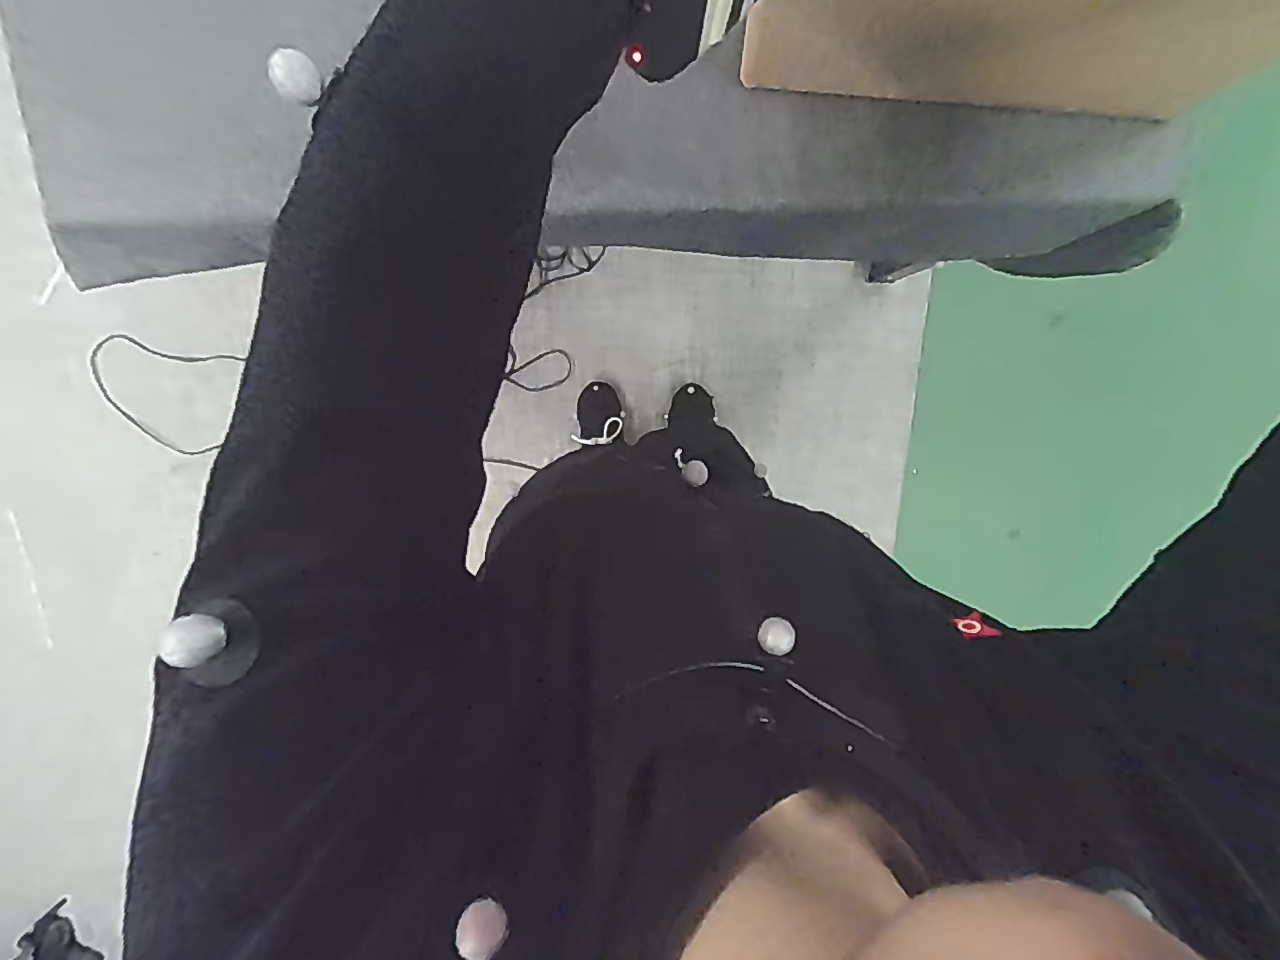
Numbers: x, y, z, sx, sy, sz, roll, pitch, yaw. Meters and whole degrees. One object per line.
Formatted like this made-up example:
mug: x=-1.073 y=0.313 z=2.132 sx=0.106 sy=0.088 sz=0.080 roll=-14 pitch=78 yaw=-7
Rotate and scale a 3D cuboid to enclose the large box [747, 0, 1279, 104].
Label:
large box: x=0.298 y=-0.480 z=0.333 sx=0.408 sy=0.320 sz=0.320 roll=7 pitch=104 yaw=3
